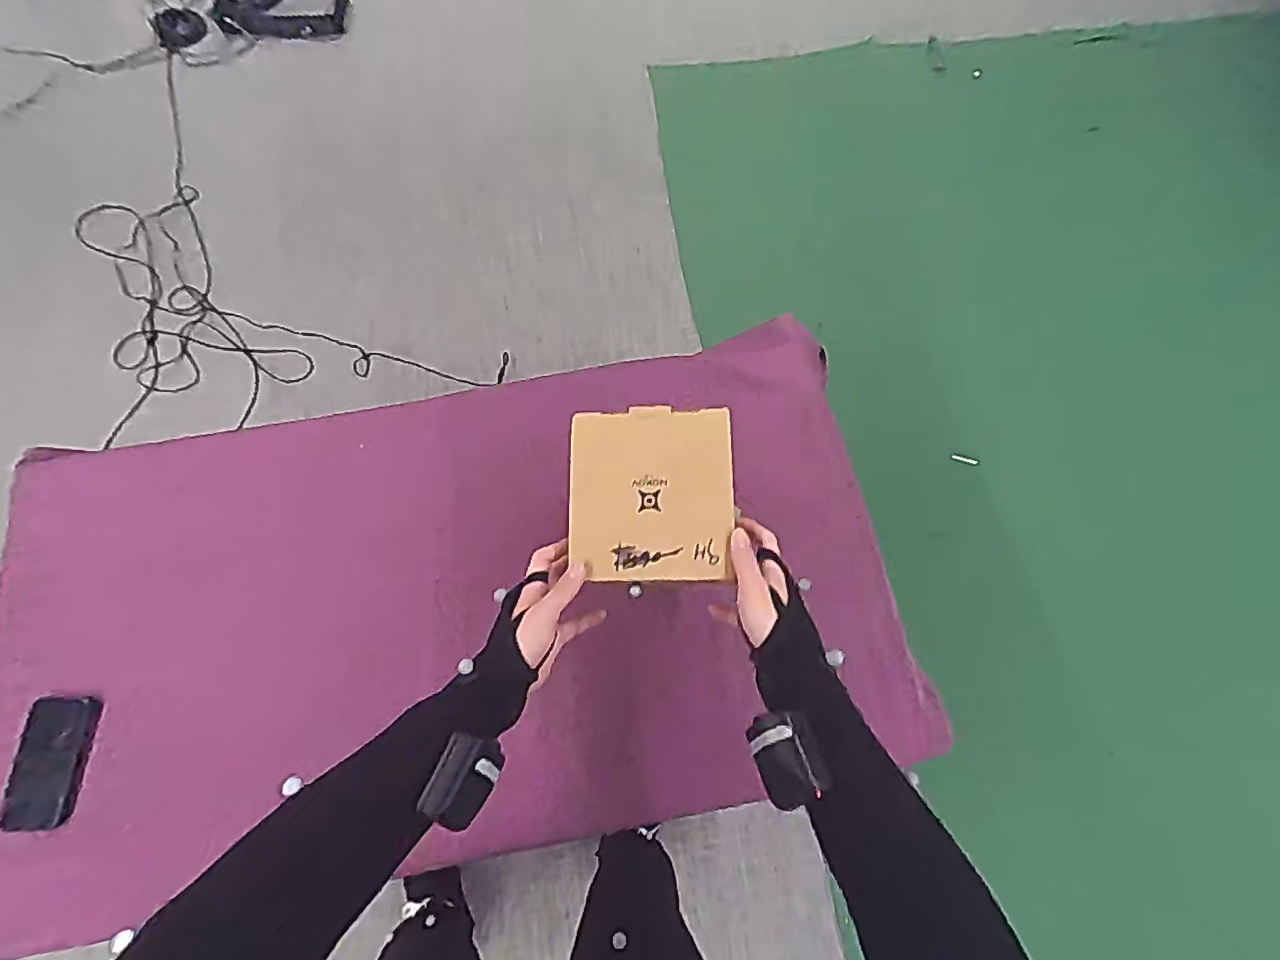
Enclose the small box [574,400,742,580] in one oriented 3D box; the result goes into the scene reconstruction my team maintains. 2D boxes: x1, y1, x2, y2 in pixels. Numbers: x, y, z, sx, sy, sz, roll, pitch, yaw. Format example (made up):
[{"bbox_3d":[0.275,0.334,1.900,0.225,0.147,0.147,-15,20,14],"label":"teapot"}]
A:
[{"bbox_3d":[0.024,0.021,0.620,0.168,0.176,0.179,-1,77,6],"label":"small box"}]
